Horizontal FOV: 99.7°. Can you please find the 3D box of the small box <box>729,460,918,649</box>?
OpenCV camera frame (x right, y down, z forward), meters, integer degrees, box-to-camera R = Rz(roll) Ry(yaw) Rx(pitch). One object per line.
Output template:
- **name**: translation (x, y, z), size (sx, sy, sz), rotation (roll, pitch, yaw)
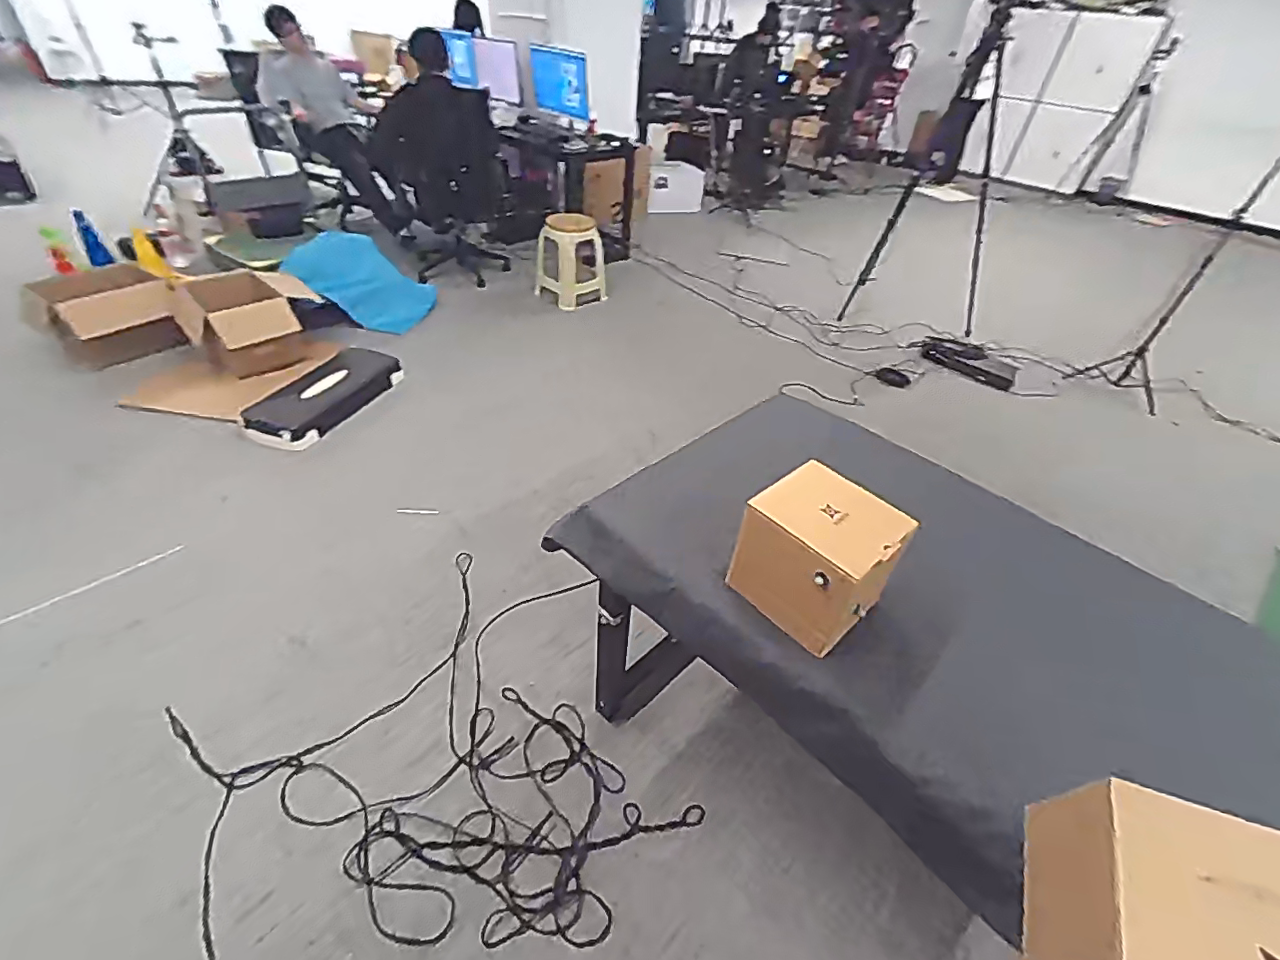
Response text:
- **small box**: translation (0.252, 0.105, 0.780), size (0.168, 0.176, 0.179), rotation (-27, 51, -34)
